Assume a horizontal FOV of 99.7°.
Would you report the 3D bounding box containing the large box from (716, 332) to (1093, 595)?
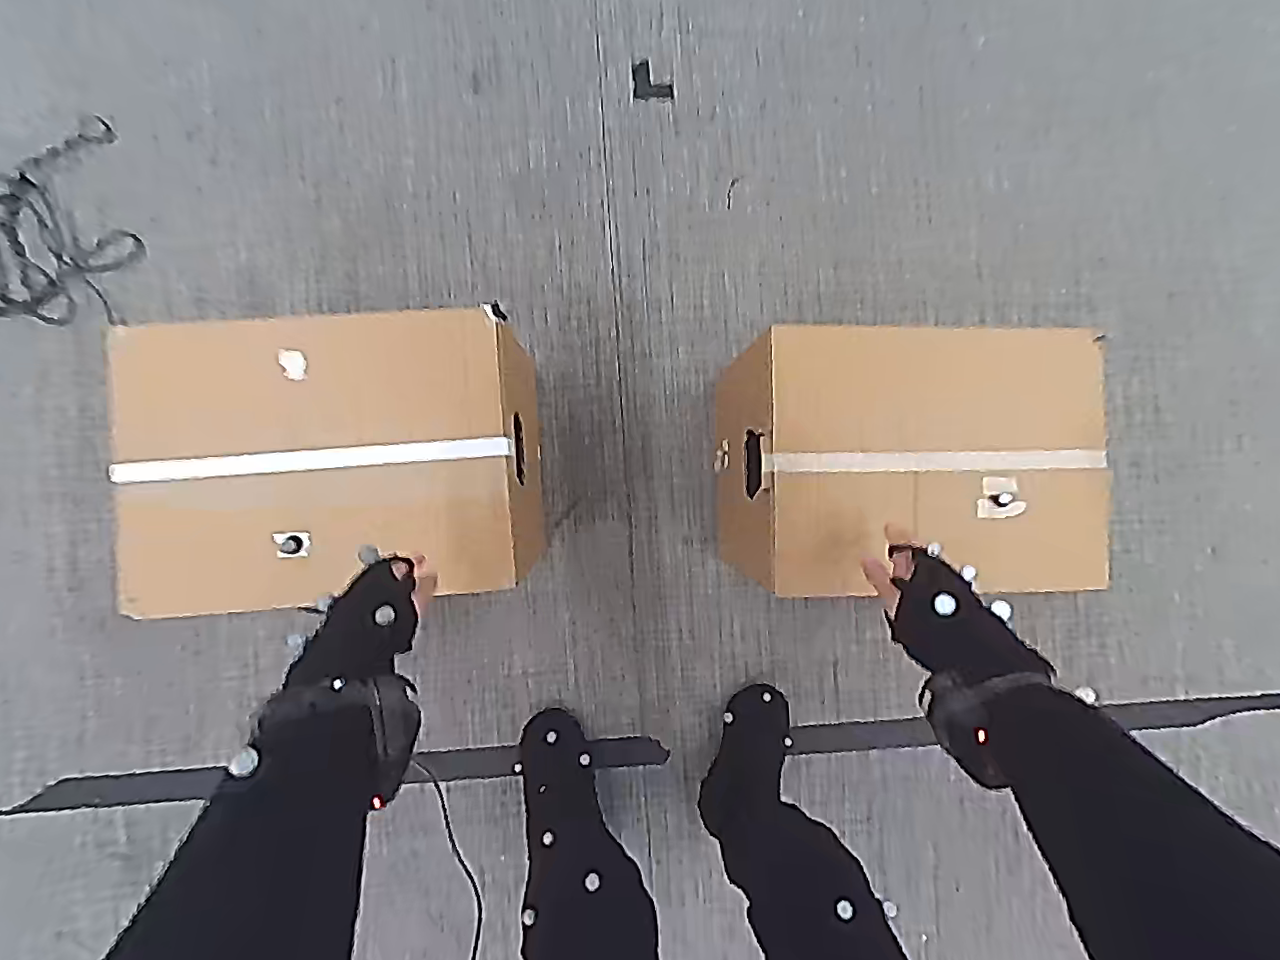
[{"bbox_3d":[0.341,-0.018,0.796,0.408,0.320,0.320,0,89,-4],"label":"large box"}]
